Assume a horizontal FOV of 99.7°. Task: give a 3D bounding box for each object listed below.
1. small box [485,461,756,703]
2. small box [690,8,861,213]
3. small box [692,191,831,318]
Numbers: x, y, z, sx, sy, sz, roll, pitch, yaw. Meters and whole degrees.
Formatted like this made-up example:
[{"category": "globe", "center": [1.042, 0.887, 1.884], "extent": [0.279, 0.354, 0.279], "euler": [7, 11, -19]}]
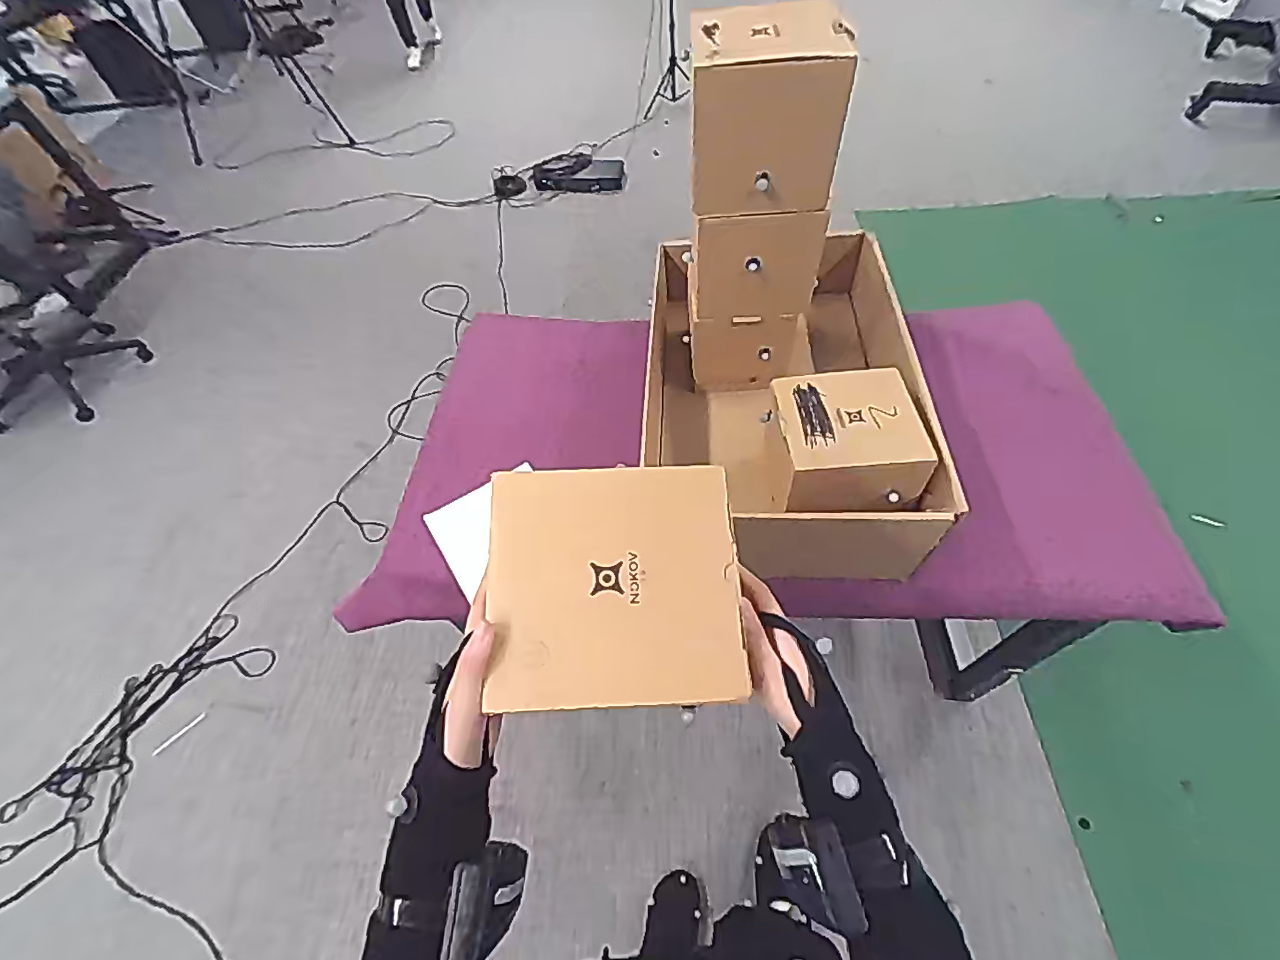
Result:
[{"category": "small box", "center": [-0.018, 0.093, 0.445], "extent": [0.179, 0.176, 0.168], "euler": [-1, 69, -5]}, {"category": "small box", "center": [0.155, -0.460, 0.683], "extent": [0.179, 0.176, 0.168], "euler": [1, 55, 4]}, {"category": "small box", "center": [0.169, -0.364, 0.816], "extent": [0.179, 0.176, 0.168], "euler": [-2, 55, 4]}]
